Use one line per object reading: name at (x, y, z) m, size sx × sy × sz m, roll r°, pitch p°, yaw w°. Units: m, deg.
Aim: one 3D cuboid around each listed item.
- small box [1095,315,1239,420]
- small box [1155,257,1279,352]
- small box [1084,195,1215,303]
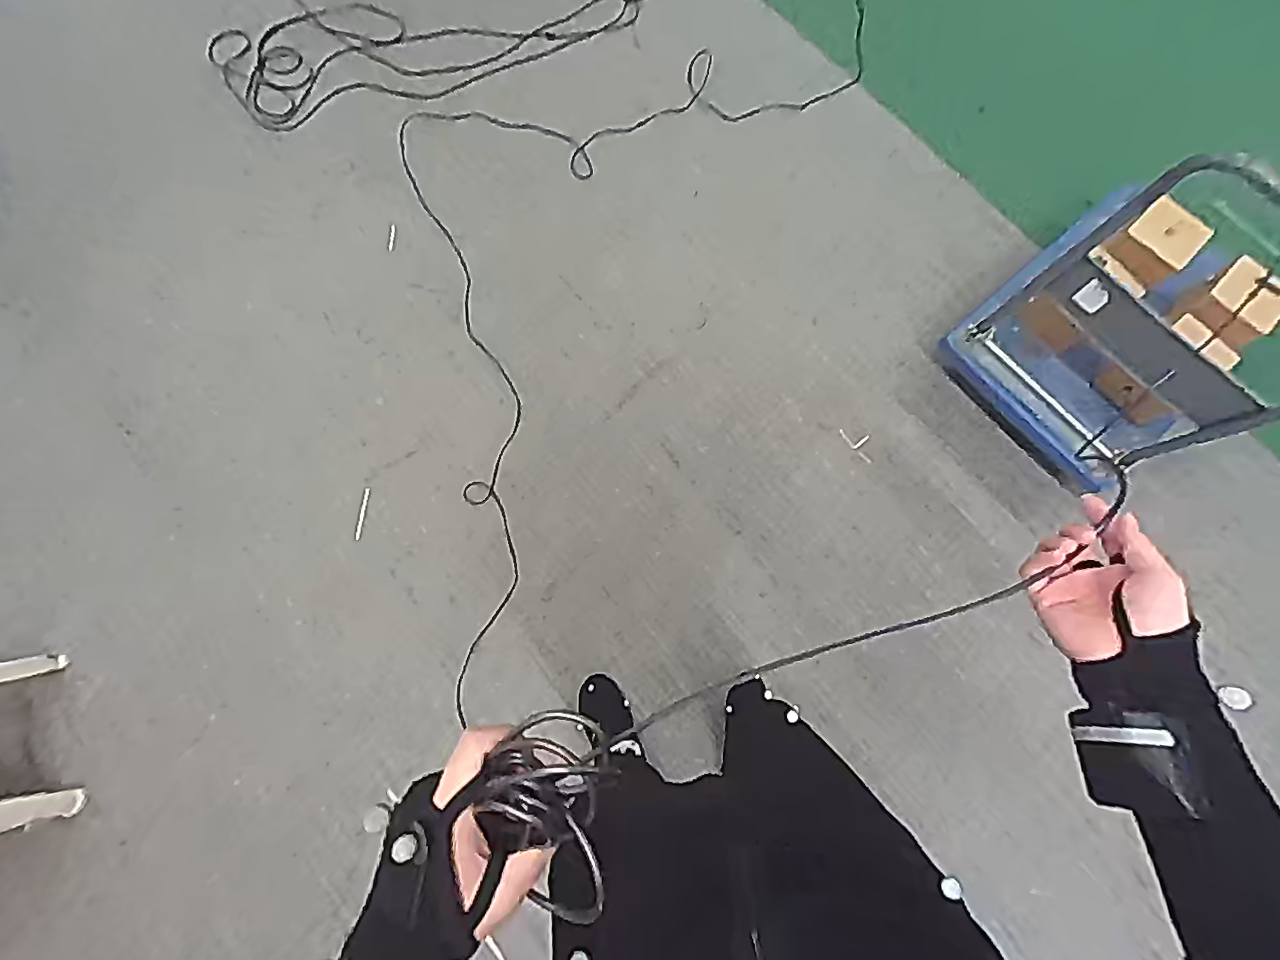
small box at (1.351, -0.285, 1.401) m, size 0.179 × 0.176 × 0.168 m, roll -37°, pitch 80°, yaw -10°
small box at (1.560, -0.449, 1.450) m, size 0.179 × 0.176 × 0.168 m, roll -42°, pitch 80°, yaw -10°
small box at (1.387, -0.627, 1.489) m, size 0.179 × 0.176 × 0.168 m, roll -42°, pitch 82°, yaw -11°
